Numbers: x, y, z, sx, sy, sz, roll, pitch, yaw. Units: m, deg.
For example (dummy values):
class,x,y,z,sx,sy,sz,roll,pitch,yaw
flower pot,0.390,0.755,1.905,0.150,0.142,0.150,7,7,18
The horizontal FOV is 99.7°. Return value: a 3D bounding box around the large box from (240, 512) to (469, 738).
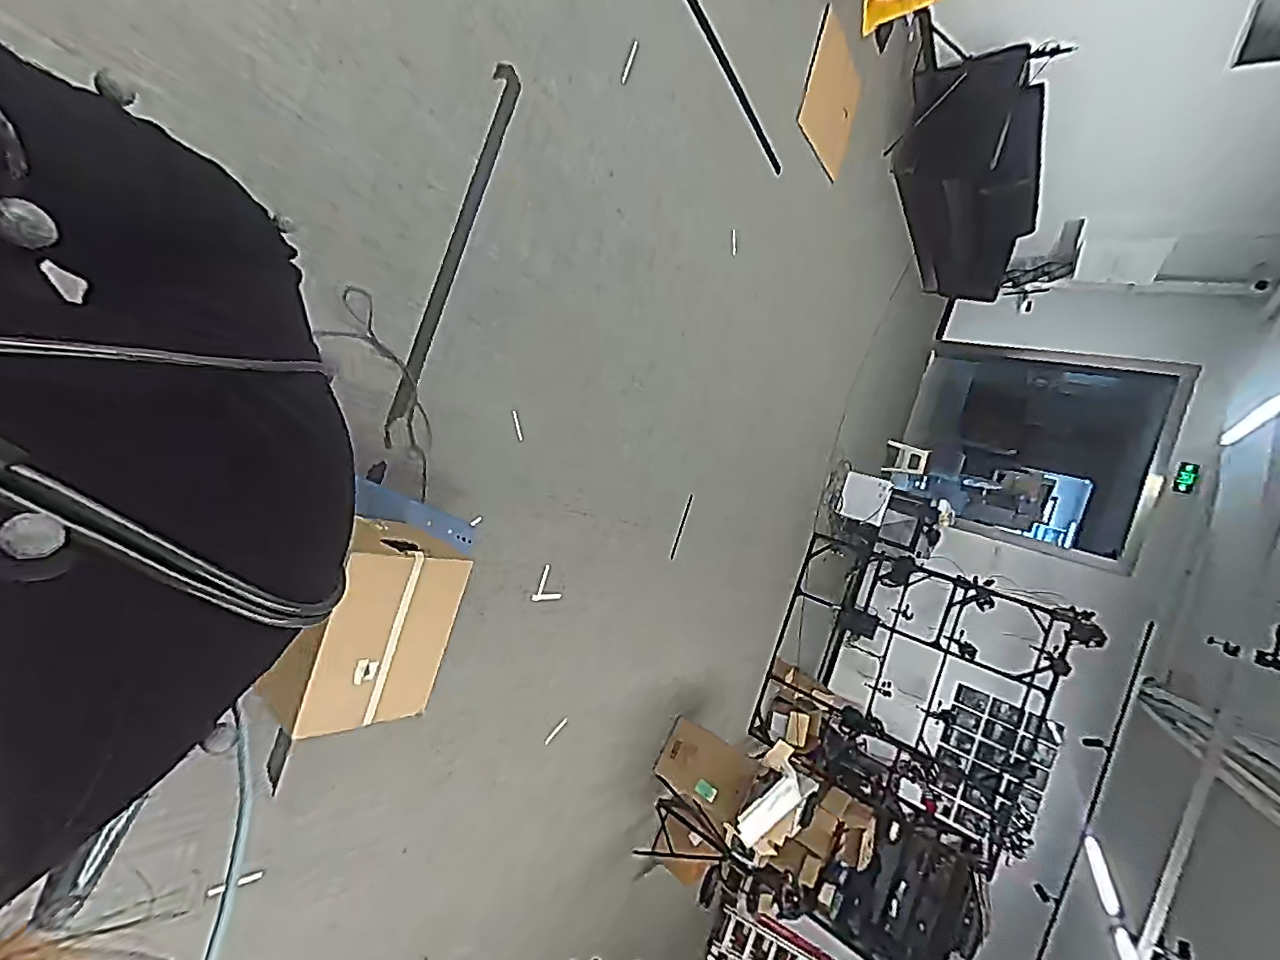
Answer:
class,x,y,z,sx,sy,sz,roll,pitch,yaw
large box,-0.678,0.320,1.294,0.320,0.320,0.408,18,90,-54
